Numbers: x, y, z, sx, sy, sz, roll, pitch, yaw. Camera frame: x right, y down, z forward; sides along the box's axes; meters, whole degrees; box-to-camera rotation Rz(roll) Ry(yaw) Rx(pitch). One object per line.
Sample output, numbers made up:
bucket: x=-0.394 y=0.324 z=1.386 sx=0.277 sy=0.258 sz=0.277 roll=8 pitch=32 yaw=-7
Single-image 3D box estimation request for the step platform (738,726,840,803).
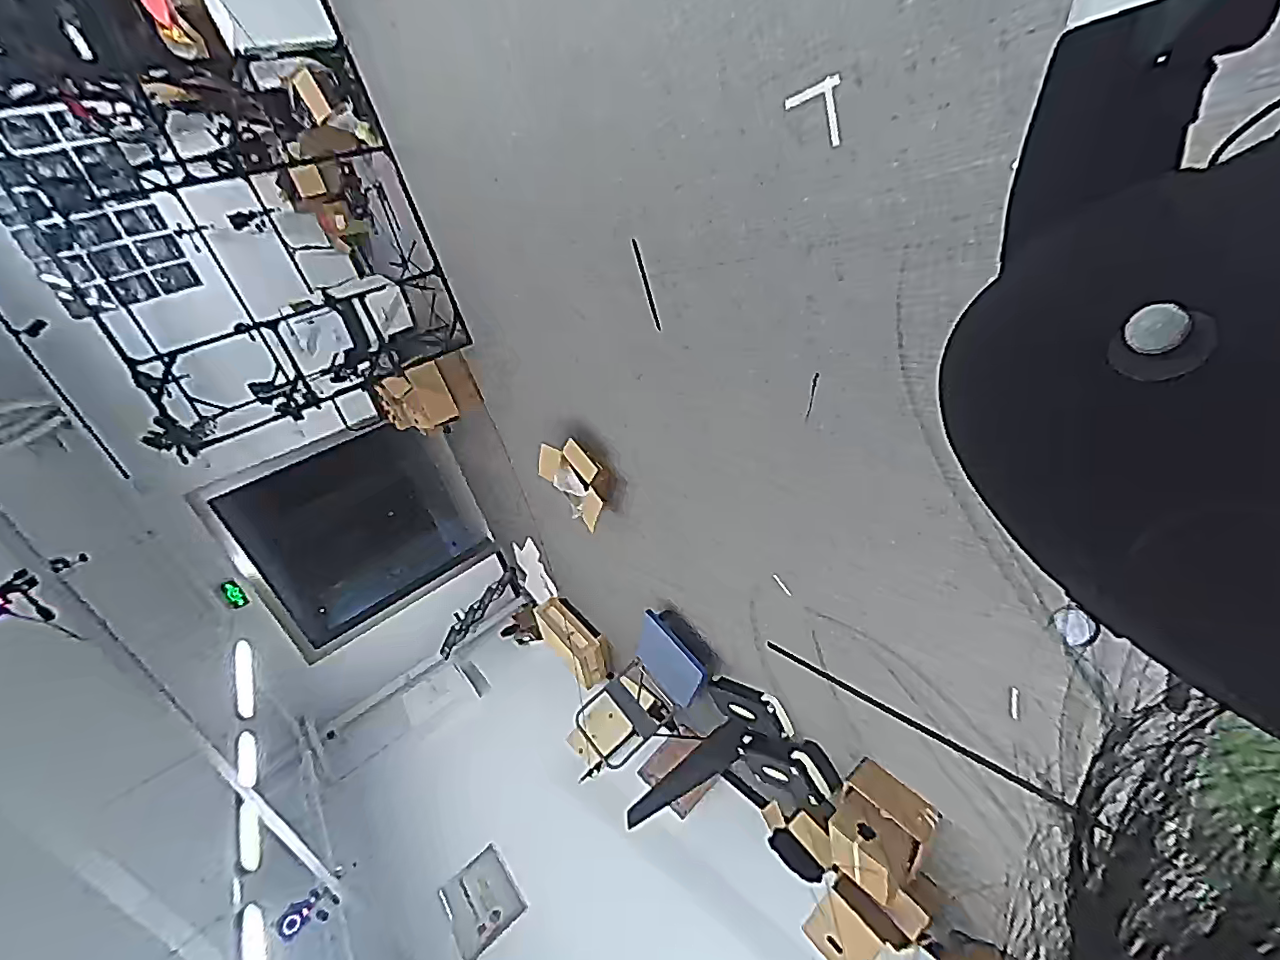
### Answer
step platform: x=0.901 y=1.761 z=3.368 sx=0.286 sy=0.204 sz=0.684 roll=57 pitch=152 yaw=1
